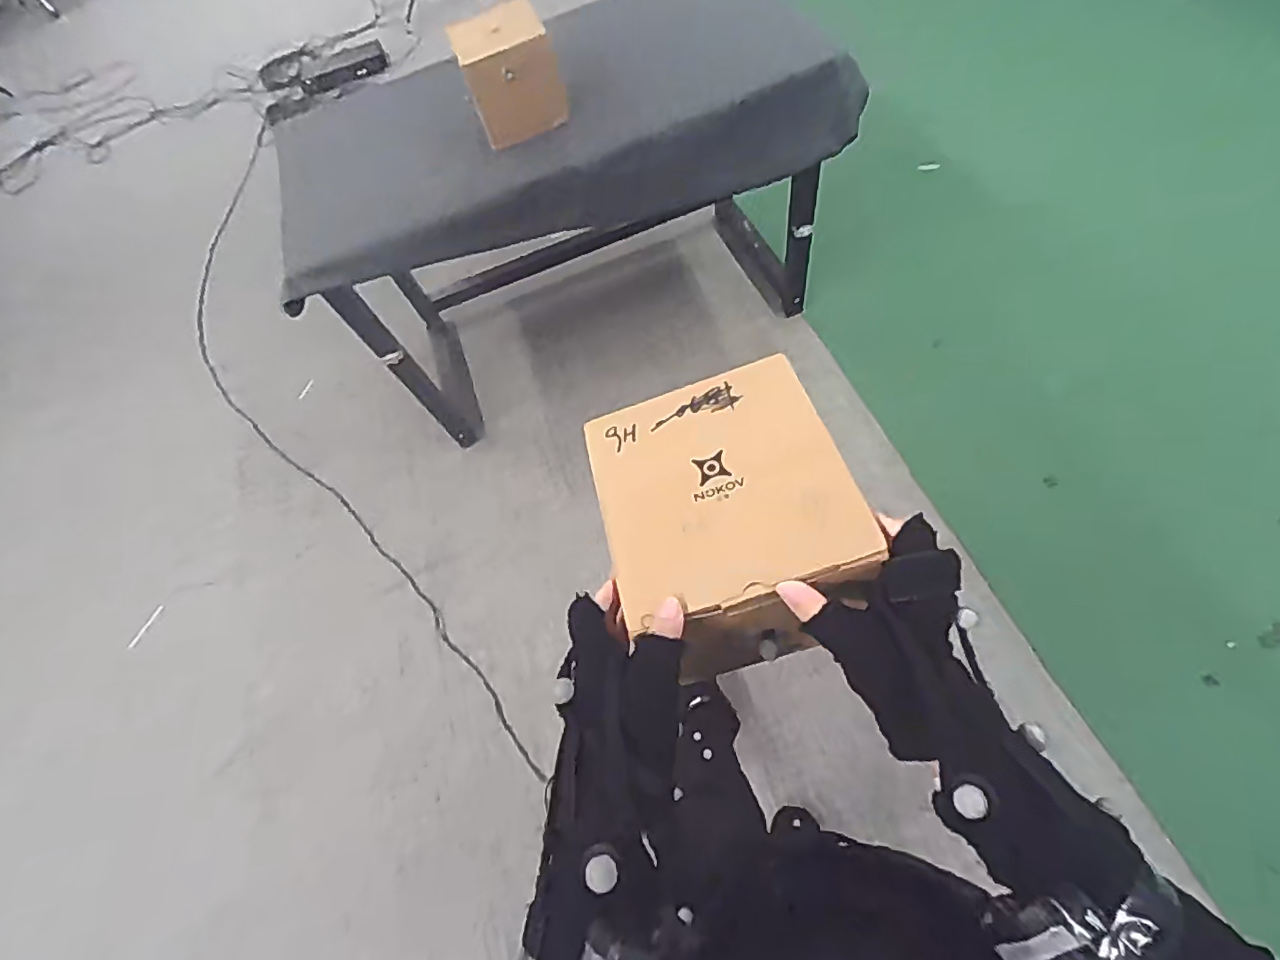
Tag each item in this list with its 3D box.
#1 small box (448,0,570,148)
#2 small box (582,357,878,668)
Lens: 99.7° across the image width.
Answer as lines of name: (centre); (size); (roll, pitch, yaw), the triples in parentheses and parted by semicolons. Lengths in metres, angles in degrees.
small box: (-0.263, -0.823, 1.107); (0.179, 0.176, 0.168); (-22, 62, -2)
small box: (0.069, 0.040, 0.436); (0.168, 0.176, 0.179); (-19, 57, 6)
